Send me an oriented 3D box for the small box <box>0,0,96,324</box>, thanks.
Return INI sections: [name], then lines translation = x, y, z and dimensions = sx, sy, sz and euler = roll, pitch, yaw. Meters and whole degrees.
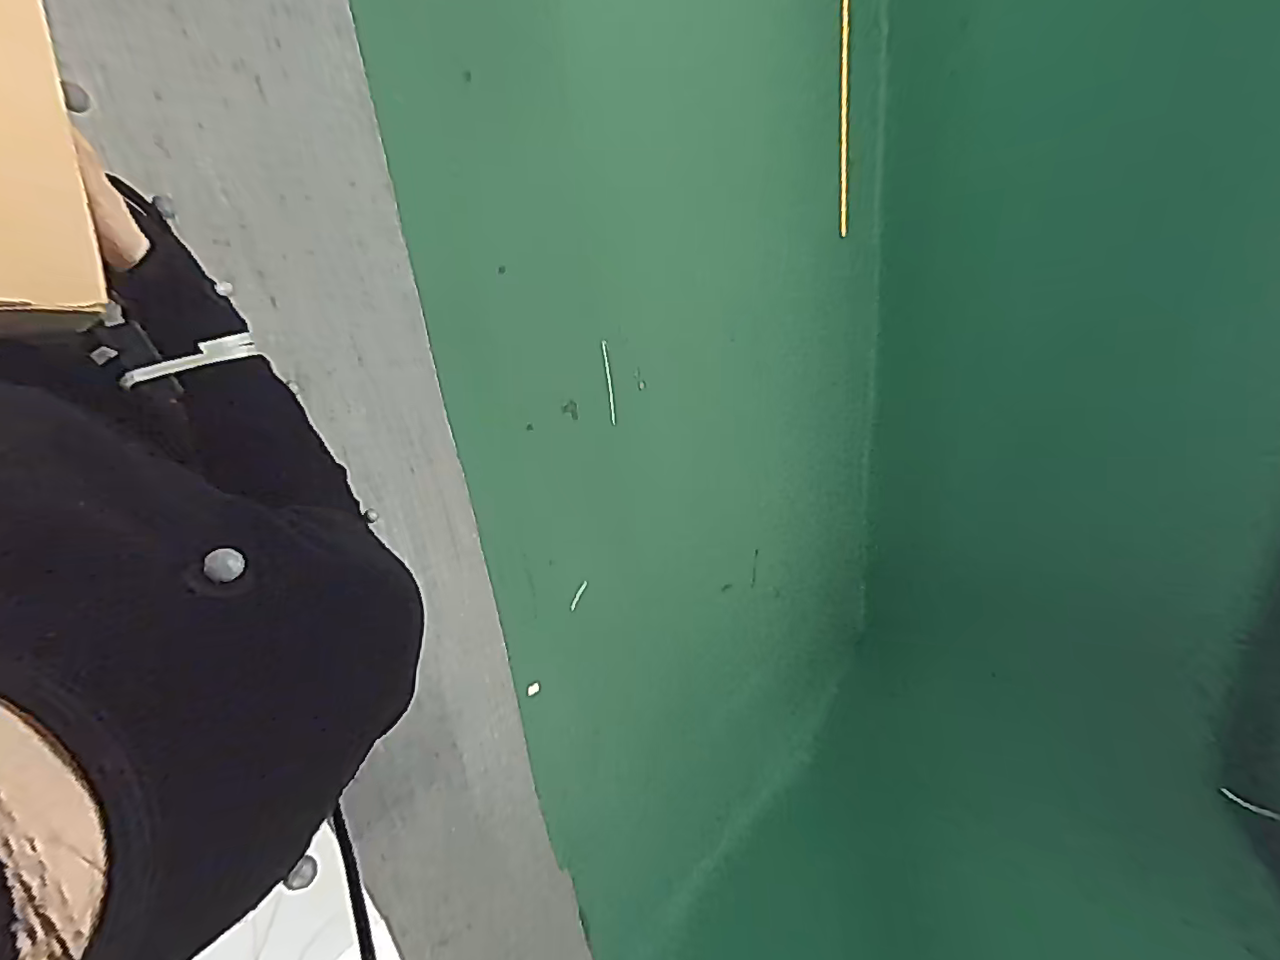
[small box]
translation = -0.409, -0.181, 0.261
dimensions = 0.168, 0.176, 0.179
euler = -16, 105, -52
